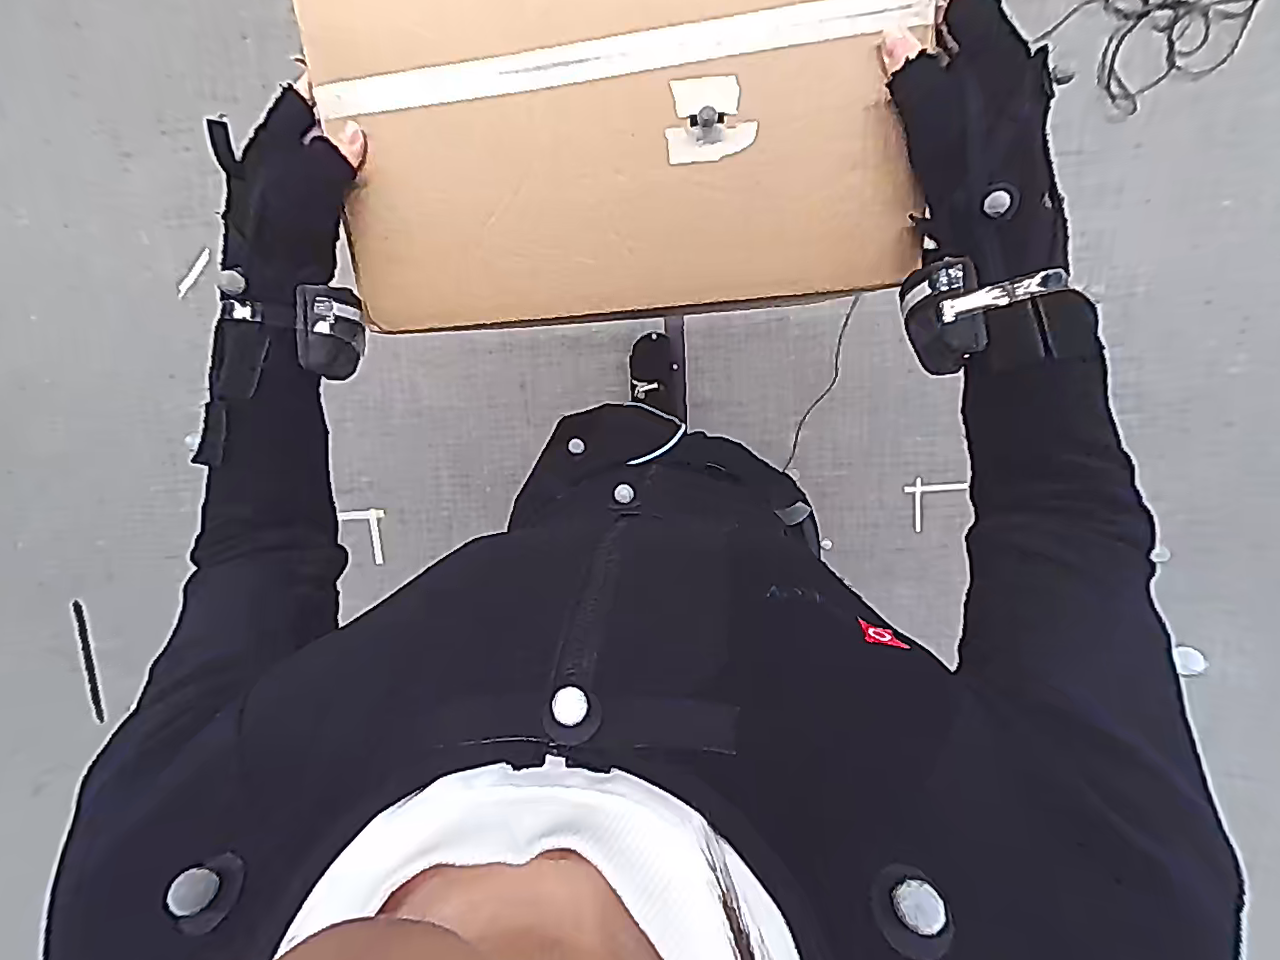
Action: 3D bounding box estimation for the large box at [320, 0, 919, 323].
[{"bbox_3d":[-0.006,-0.327,0.506,0.408,0.320,0.320,-3,106,8],"label":"large box"}]

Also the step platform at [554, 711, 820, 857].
[{"bbox_3d":[0.118,0.793,1.427,0.684,0.204,0.286,-3,96,8],"label":"step platform"}]
